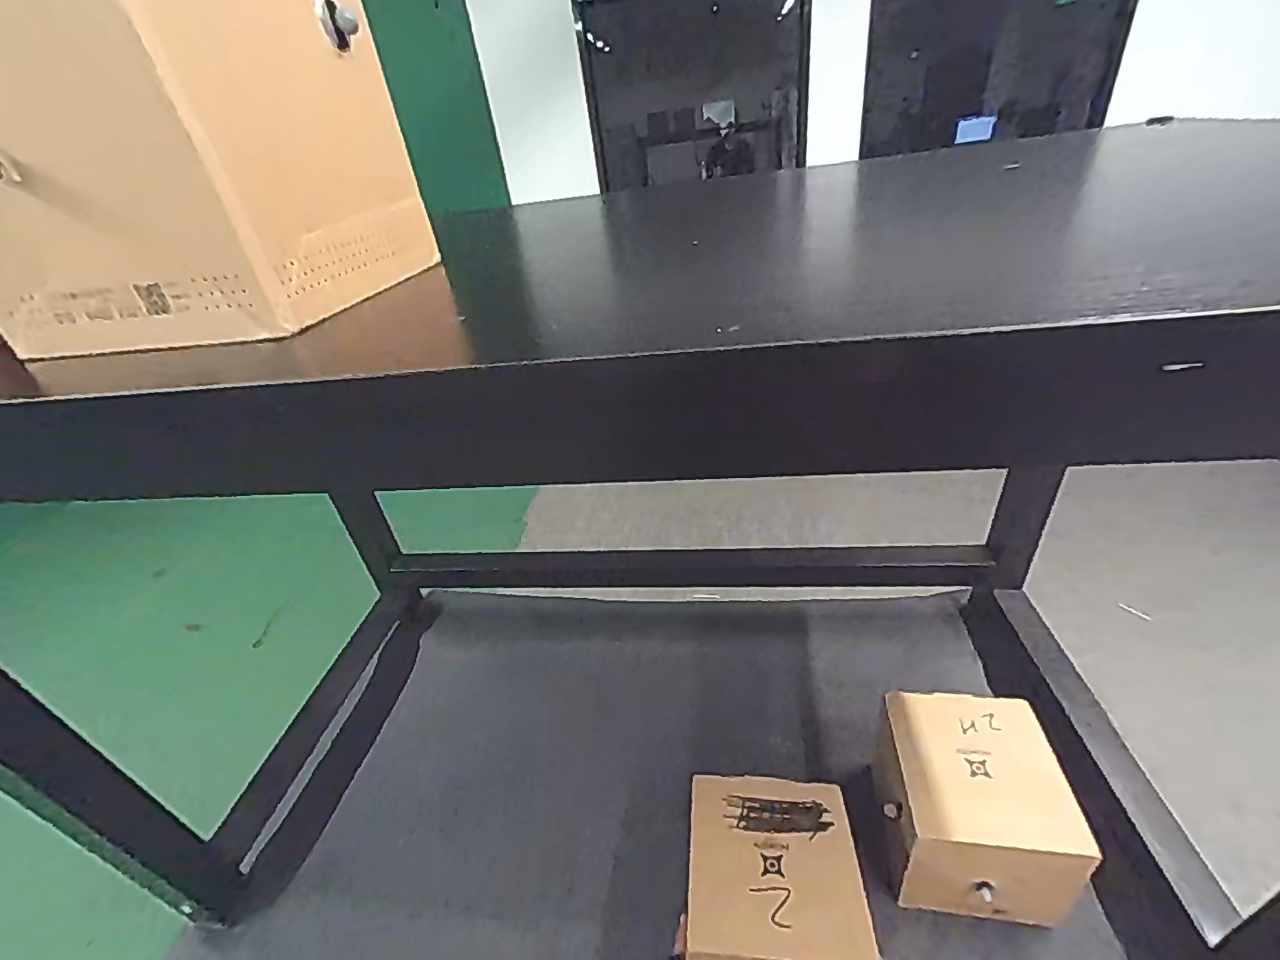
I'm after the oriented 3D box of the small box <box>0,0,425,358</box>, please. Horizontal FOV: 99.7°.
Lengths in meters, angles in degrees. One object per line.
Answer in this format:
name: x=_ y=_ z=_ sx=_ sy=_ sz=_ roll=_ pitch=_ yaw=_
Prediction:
small box: x=-0.253 y=-0.174 z=0.309 sx=0.168 sy=0.176 sz=0.179 roll=-2 pitch=32 yaw=11
